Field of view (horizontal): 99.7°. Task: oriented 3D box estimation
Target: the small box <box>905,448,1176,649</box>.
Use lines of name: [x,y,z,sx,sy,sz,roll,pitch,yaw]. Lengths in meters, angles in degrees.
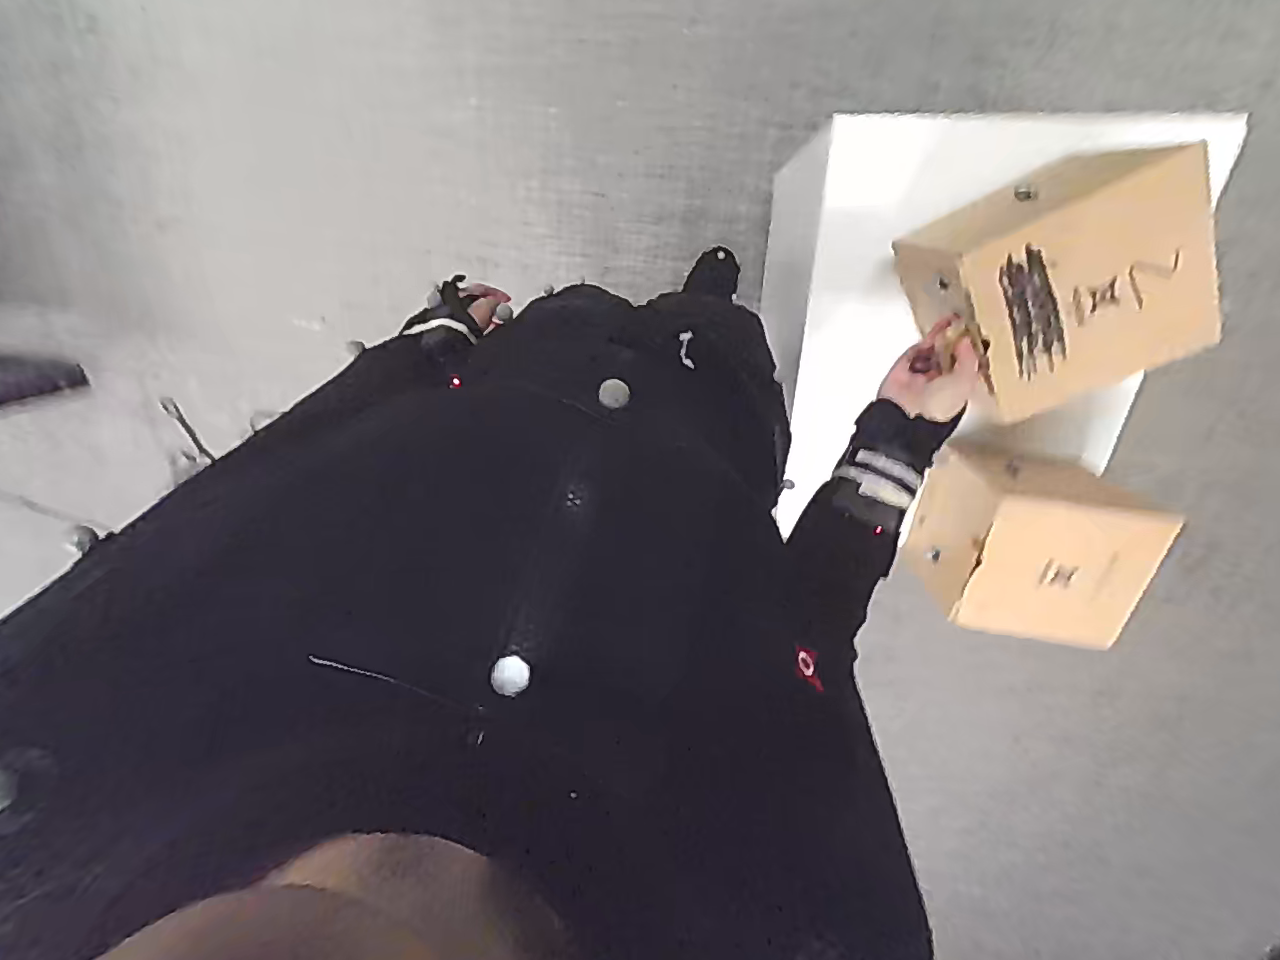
small box: [0.448,0.071,0.647,0.179,0.176,0.168,8,115,3]
